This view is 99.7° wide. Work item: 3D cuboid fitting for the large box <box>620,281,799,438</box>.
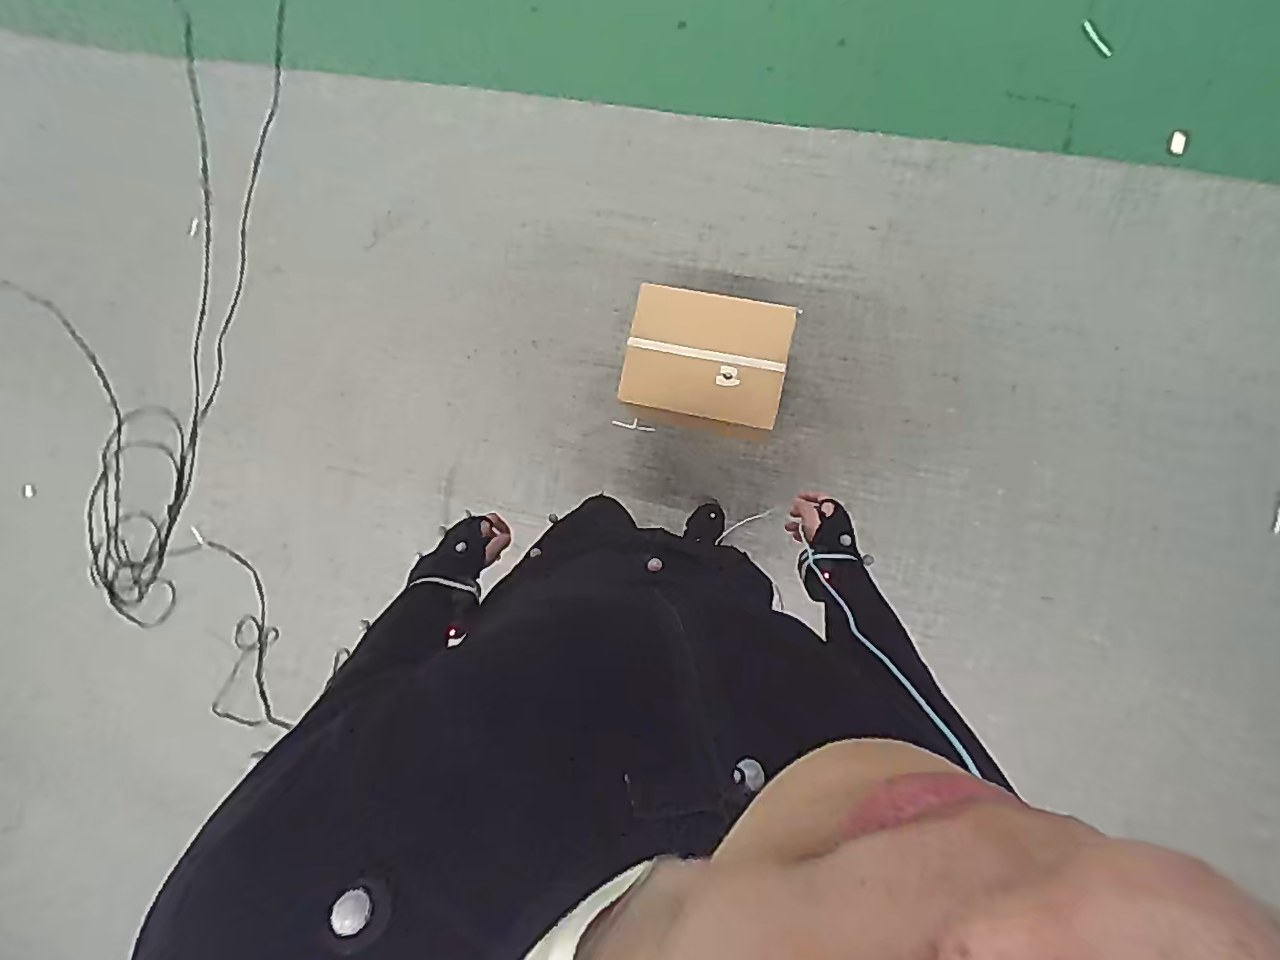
[{"bbox_3d":[0.187,-0.317,1.497,0.408,0.320,0.320,12,90,8],"label":"large box"}]
